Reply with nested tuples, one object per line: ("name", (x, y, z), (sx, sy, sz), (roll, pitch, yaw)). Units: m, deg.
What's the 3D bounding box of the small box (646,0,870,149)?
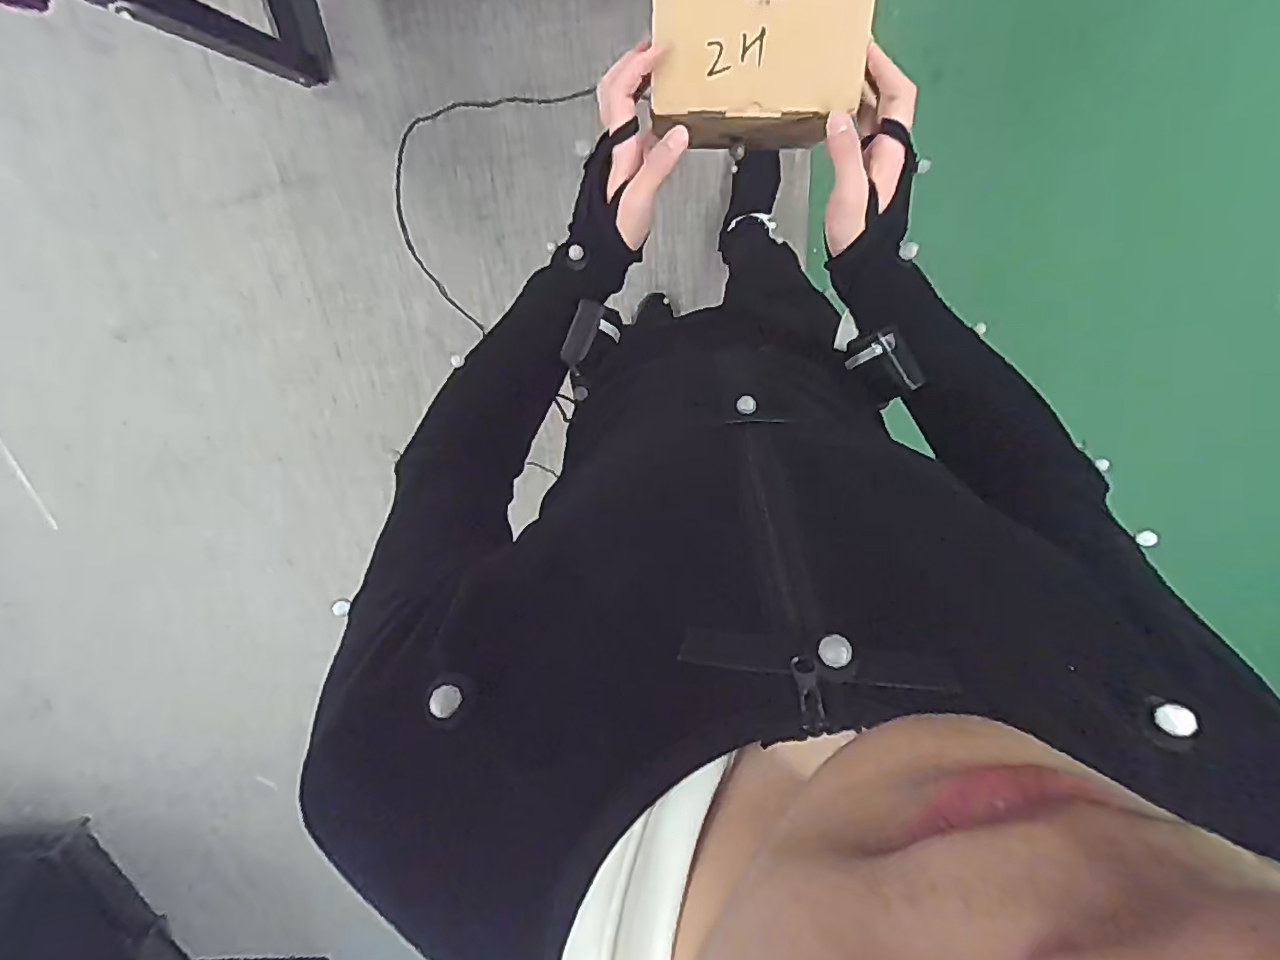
("small box", (0.095, -0.405, 0.468), (0.168, 0.176, 0.179), (3, 113, 4))
